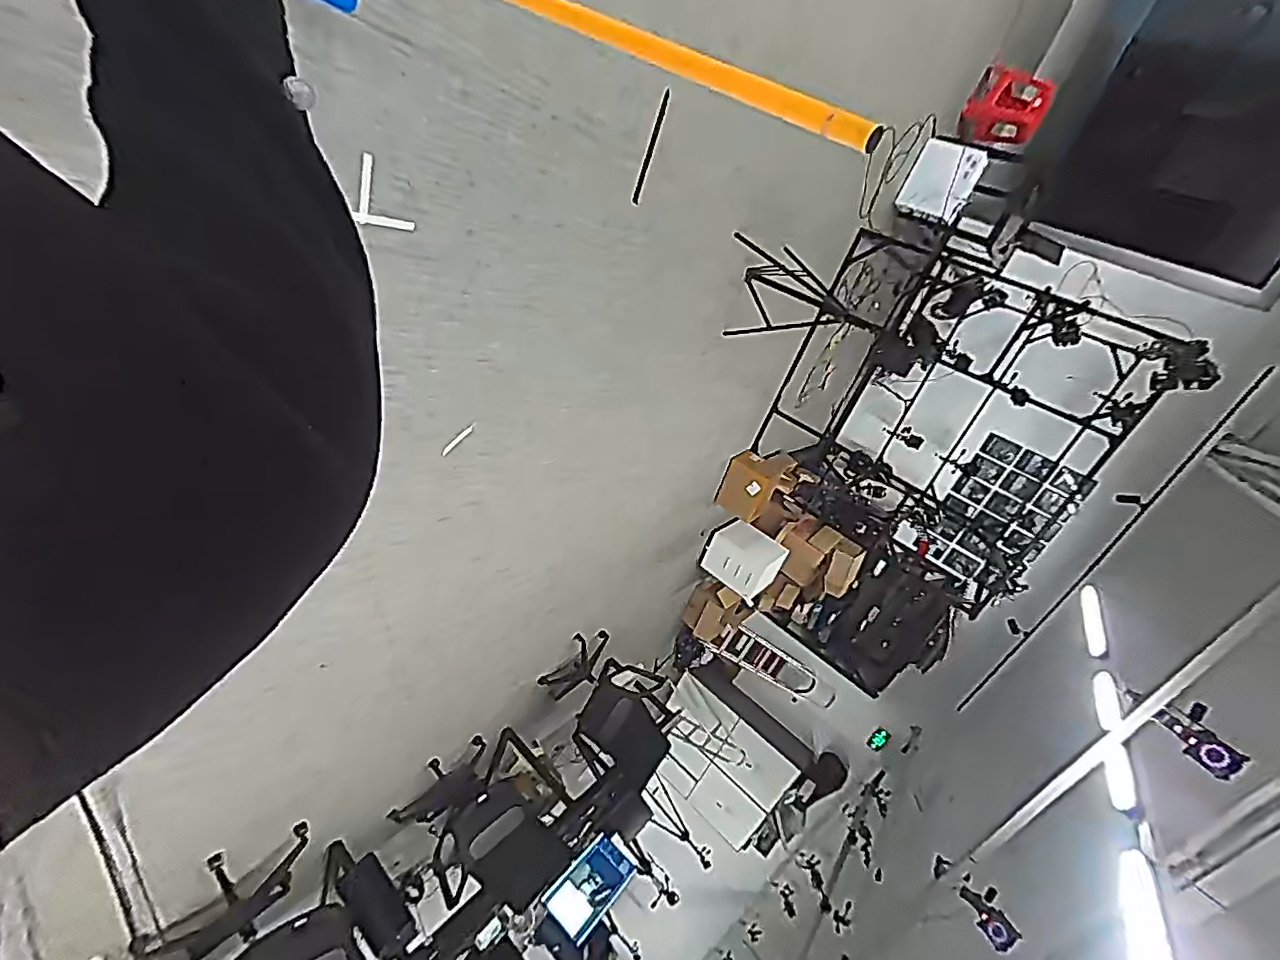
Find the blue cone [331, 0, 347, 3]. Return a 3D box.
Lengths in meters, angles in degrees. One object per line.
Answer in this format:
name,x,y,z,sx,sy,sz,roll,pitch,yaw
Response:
blue cone,-0.495,-0.941,0.928,0.193,0.380,0.192,-21,137,-50
